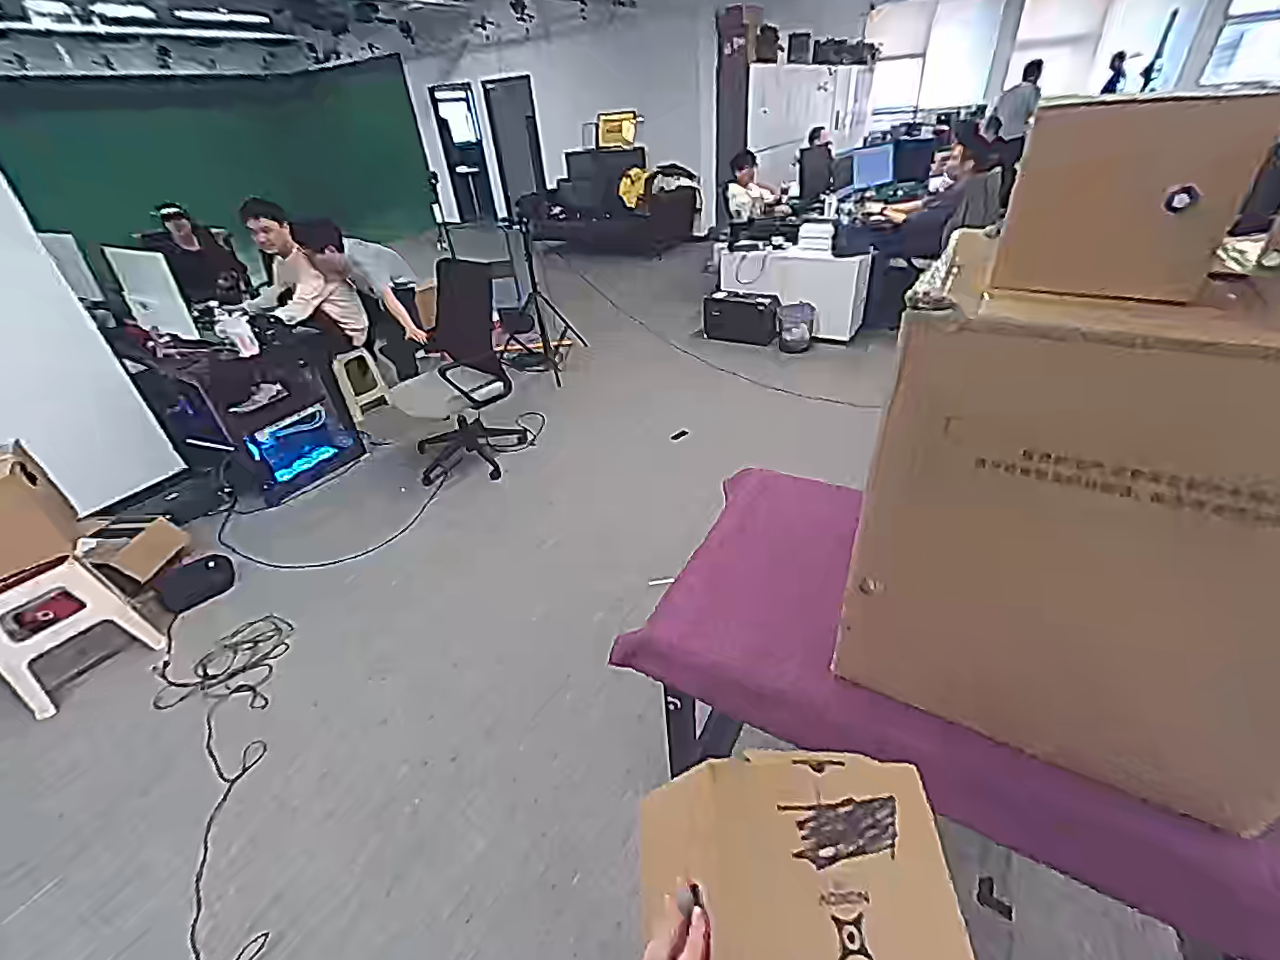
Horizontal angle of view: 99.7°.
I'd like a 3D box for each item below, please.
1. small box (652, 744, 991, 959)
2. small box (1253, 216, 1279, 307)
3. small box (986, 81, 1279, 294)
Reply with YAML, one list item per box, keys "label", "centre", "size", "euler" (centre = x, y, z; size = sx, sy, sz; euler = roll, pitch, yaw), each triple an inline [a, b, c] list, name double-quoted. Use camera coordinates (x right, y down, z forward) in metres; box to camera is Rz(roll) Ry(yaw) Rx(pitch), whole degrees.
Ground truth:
- label: "small box"
  centre: [0.111, 0.308, 0.388]
  size: [0.168, 0.176, 0.179]
  euler: [8, 49, -14]
- label: "small box"
  centre: [0.647, -0.218, 0.421]
  size: [0.168, 0.176, 0.179]
  euler: [16, 40, 29]
- label: "small box"
  centre: [0.489, -0.300, 0.559]
  size: [0.179, 0.176, 0.168]
  euler: [16, 39, 28]
